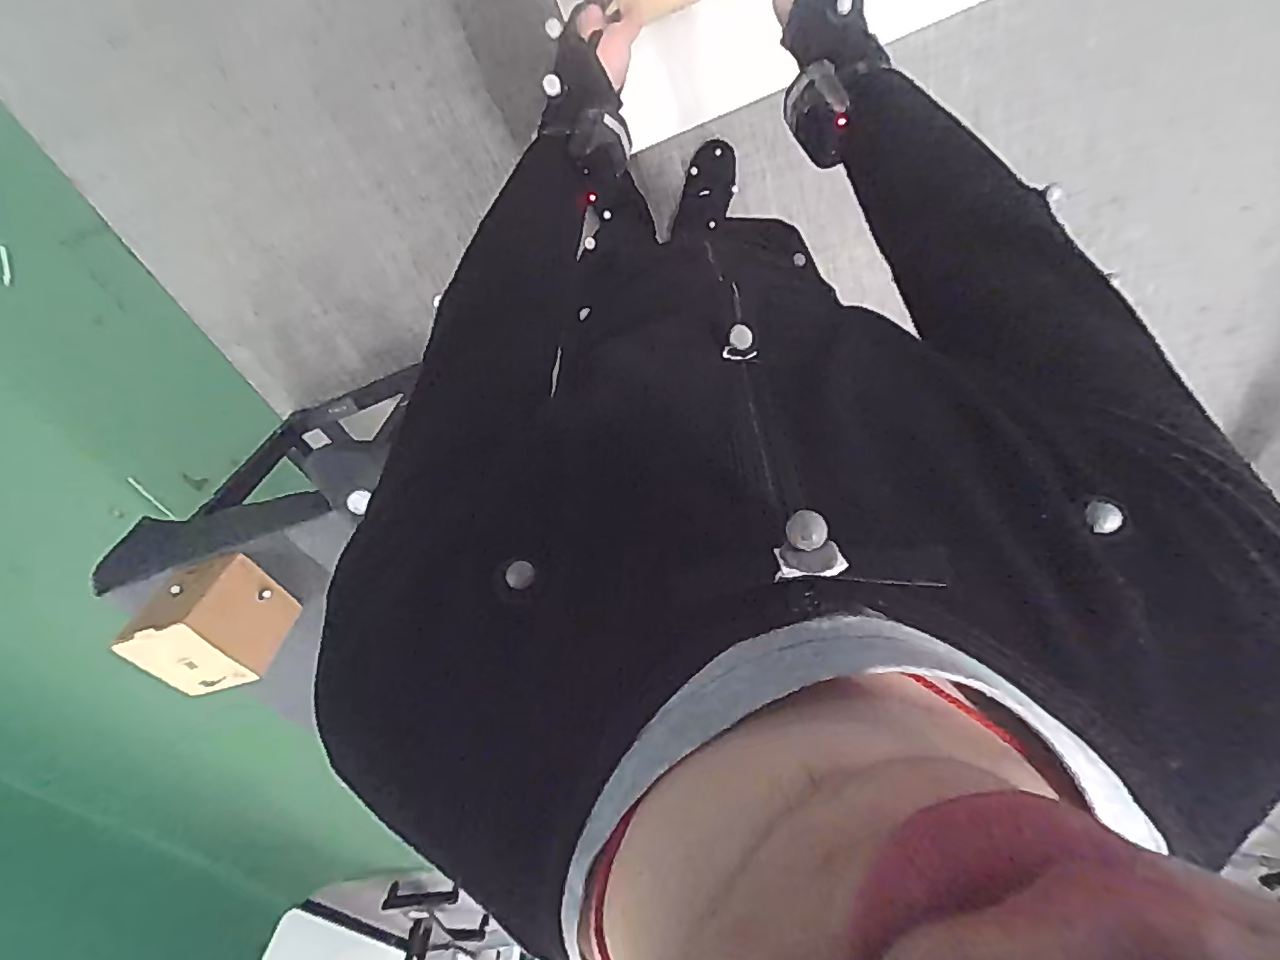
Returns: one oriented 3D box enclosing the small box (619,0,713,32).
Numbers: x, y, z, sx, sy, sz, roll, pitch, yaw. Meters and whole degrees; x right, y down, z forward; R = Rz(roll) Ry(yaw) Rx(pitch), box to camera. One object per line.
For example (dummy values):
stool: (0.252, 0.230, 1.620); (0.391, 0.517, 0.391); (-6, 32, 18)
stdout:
small box: (0.045, -0.553, 0.503); (0.179, 0.176, 0.168); (-16, 127, 11)

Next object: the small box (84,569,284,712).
small box: (-0.799, 0.281, 0.972); (0.168, 0.176, 0.179); (-17, 126, 10)
